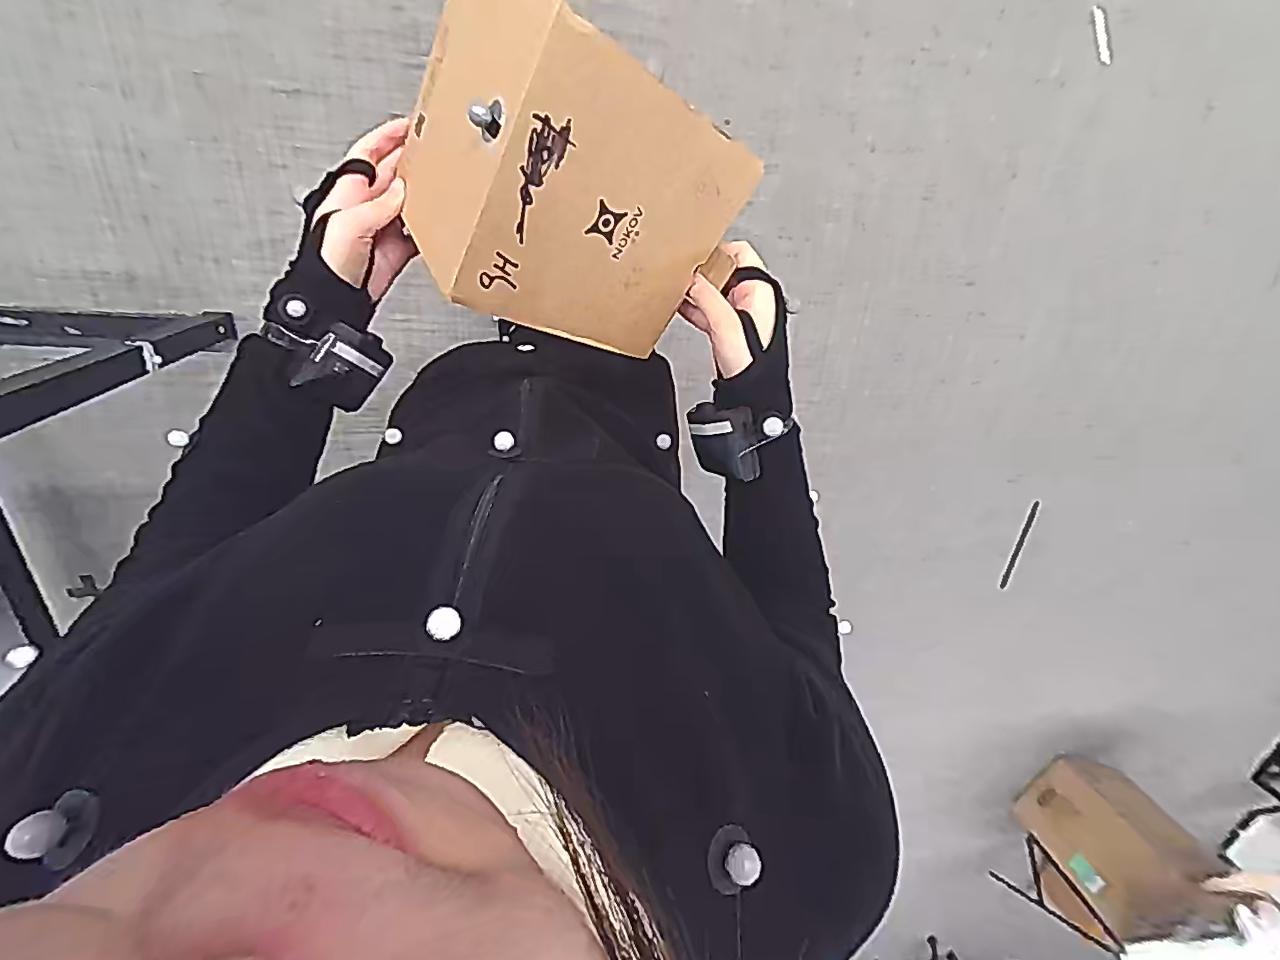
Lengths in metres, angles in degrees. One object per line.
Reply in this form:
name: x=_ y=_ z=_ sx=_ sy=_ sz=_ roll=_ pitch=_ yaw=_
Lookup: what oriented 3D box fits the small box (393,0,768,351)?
small box: x=-0.051 y=-0.223 z=0.390 sx=0.179 sy=0.176 sz=0.168 roll=5 pitch=128 yaw=-44
